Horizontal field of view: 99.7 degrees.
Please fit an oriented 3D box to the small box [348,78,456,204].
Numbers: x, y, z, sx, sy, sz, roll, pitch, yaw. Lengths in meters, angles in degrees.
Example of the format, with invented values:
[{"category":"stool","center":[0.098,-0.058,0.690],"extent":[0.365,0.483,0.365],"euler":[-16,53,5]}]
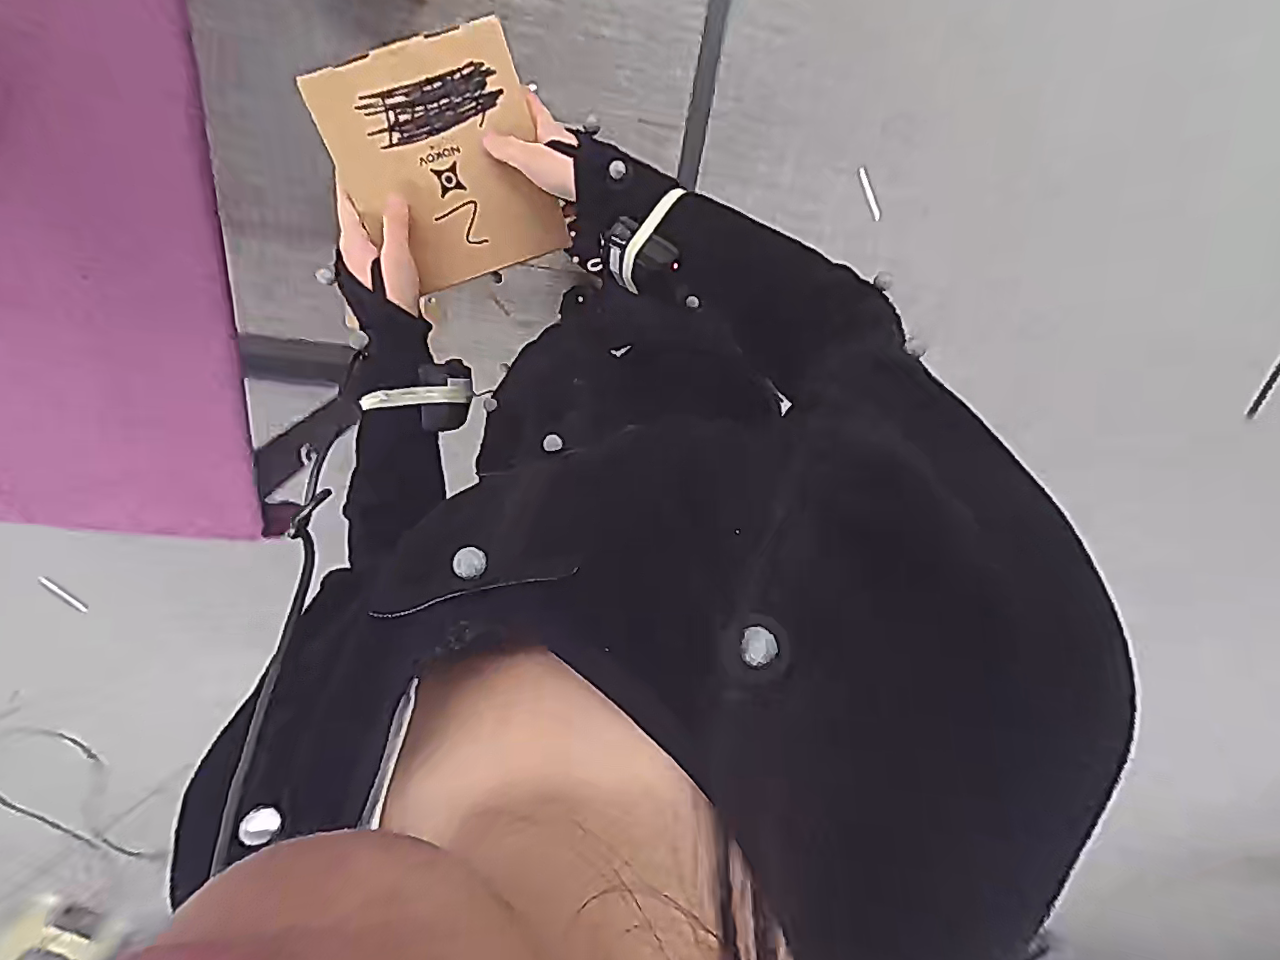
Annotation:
[{"category":"small box","center":[-0.486,-0.688,1.118],"extent":[0.168,0.176,0.179],"euler":[10,114,-10]}]
